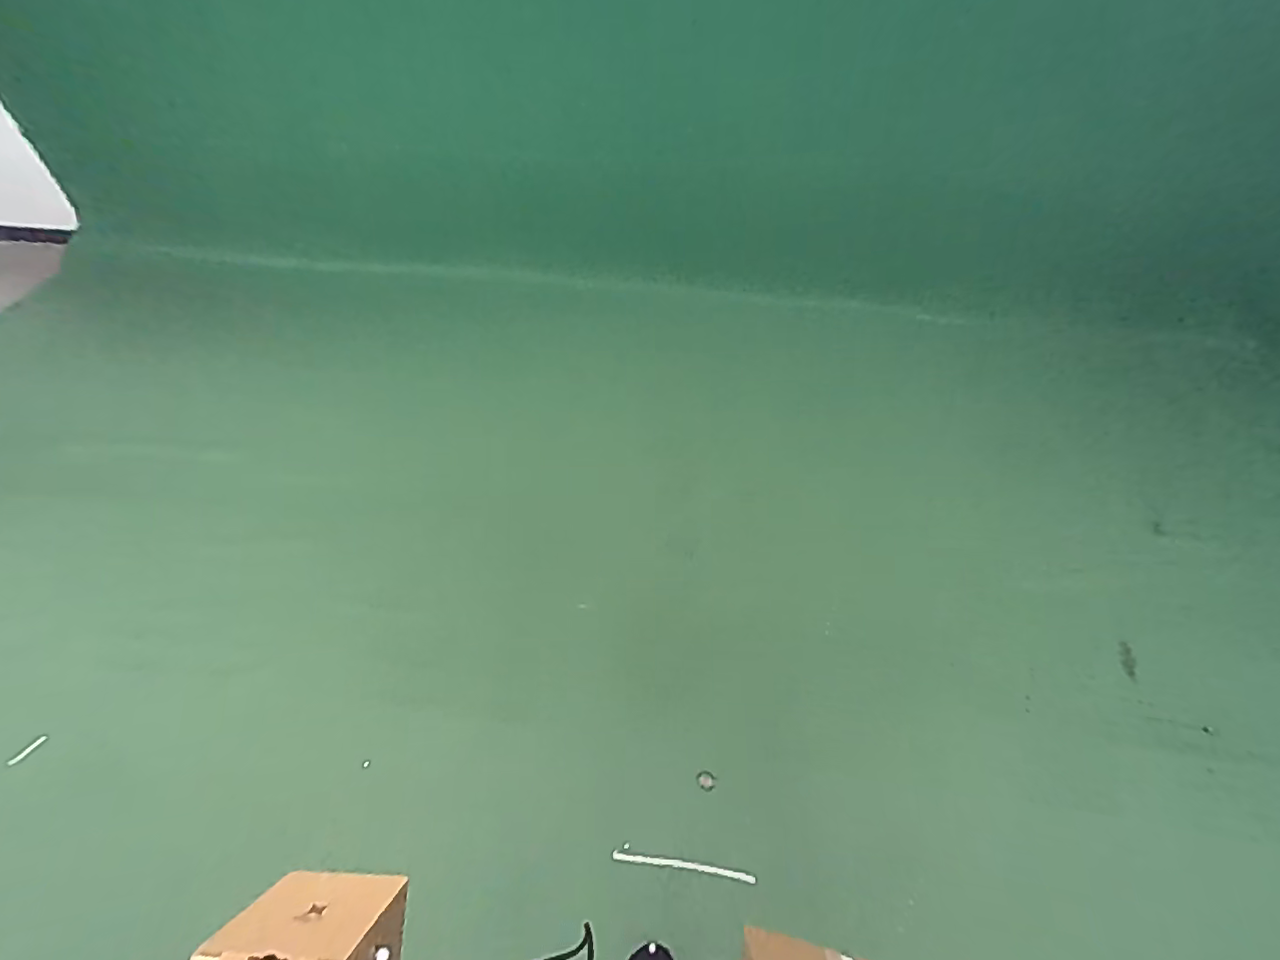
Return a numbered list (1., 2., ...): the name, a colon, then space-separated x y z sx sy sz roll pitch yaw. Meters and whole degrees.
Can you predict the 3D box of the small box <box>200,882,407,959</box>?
1. small box: -0.404 0.622 0.645 0.168 0.179 0.176 3 79 -1
